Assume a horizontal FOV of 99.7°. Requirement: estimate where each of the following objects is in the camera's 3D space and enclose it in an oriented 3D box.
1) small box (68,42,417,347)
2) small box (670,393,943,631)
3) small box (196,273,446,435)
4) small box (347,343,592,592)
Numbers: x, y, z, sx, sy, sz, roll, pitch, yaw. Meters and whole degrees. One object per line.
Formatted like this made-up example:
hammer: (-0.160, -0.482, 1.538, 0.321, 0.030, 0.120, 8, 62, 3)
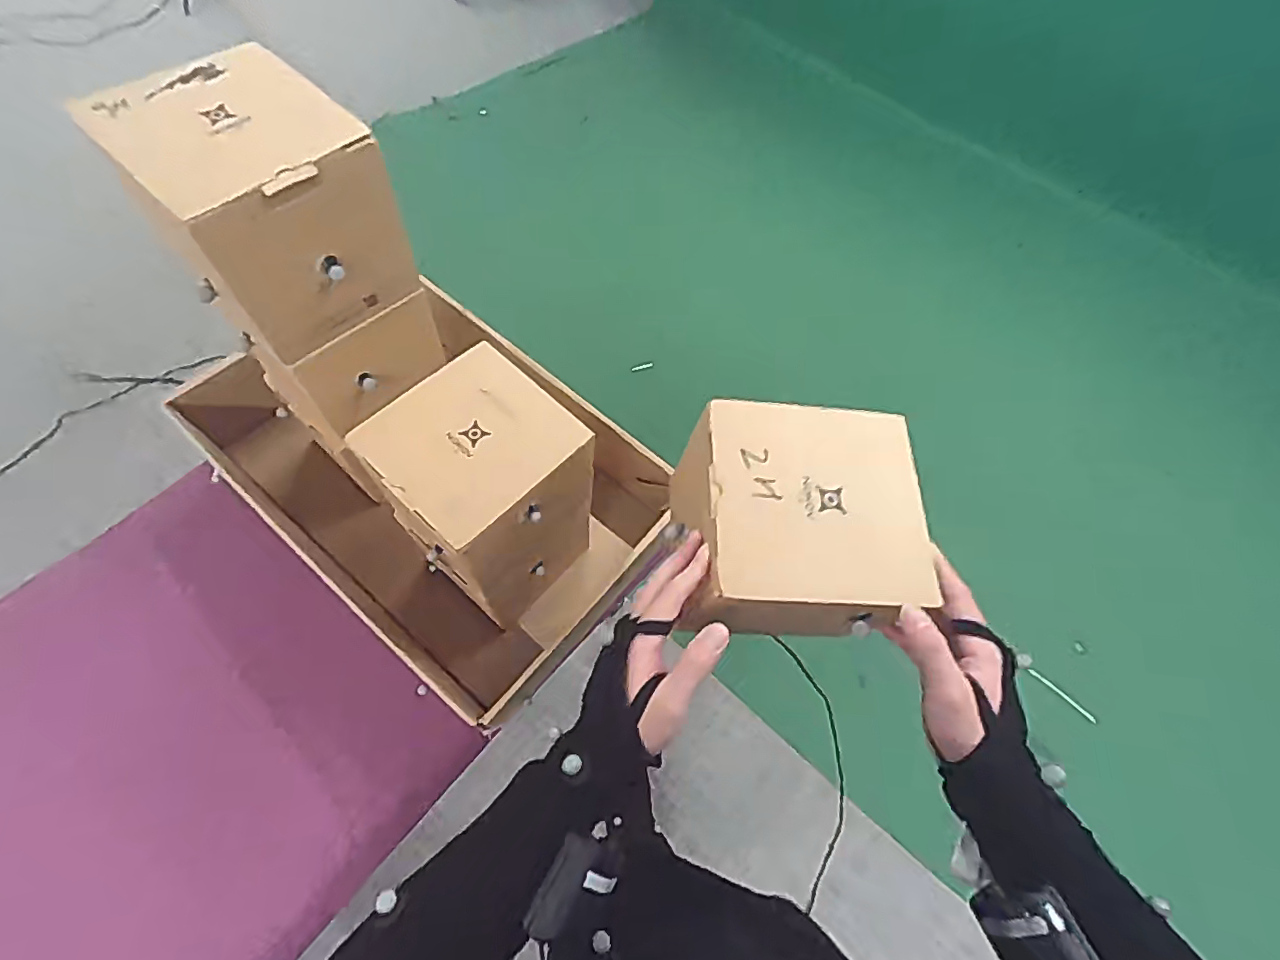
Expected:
small box: (-0.342, -0.252, 0.508, 0.179, 0.176, 0.168, 41, 66, 12)
small box: (0.130, 0.041, 0.493, 0.179, 0.176, 0.168, 4, 66, -7)
small box: (-0.362, -0.178, 0.654, 0.179, 0.176, 0.168, 41, 66, 12)
small box: (-0.167, -0.005, 0.590, 0.168, 0.176, 0.179, 41, 67, 13)
